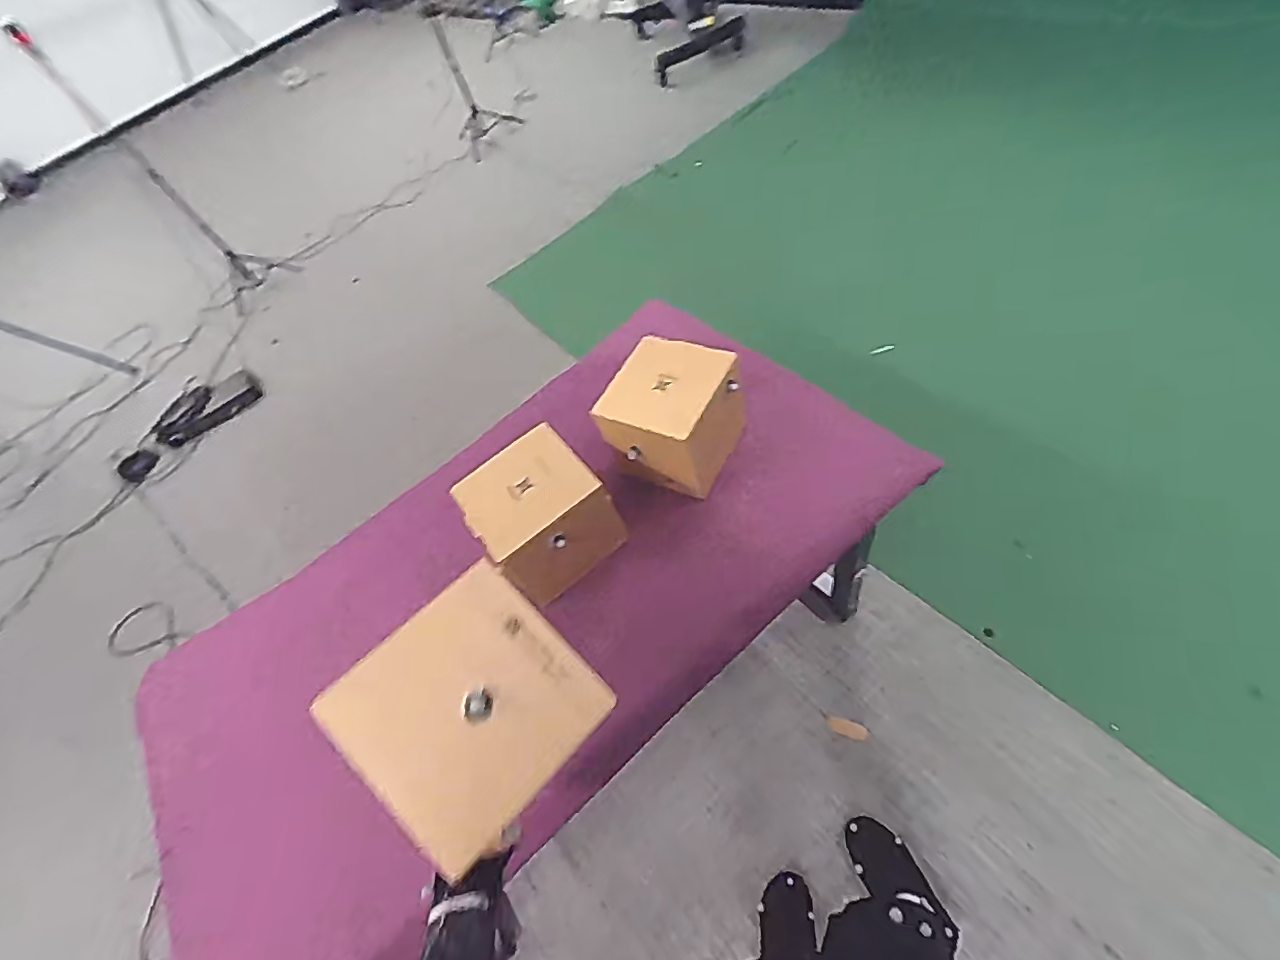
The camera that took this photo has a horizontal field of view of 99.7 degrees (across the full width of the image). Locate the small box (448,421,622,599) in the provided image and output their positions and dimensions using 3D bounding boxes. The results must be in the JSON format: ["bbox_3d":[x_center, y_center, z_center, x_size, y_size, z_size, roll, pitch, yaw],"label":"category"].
[{"bbox_3d":[-0.153,0.051,0.827,0.179,0.176,0.168,-37,55,-10],"label":"small box"}]

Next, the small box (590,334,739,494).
[{"bbox_3d":[0.051,-0.103,0.874,0.168,0.176,0.179,19,64,27],"label":"small box"}]

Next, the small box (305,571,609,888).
[{"bbox_3d":[-0.148,0.204,0.487,0.176,0.179,0.168,-40,82,-23],"label":"small box"}]
